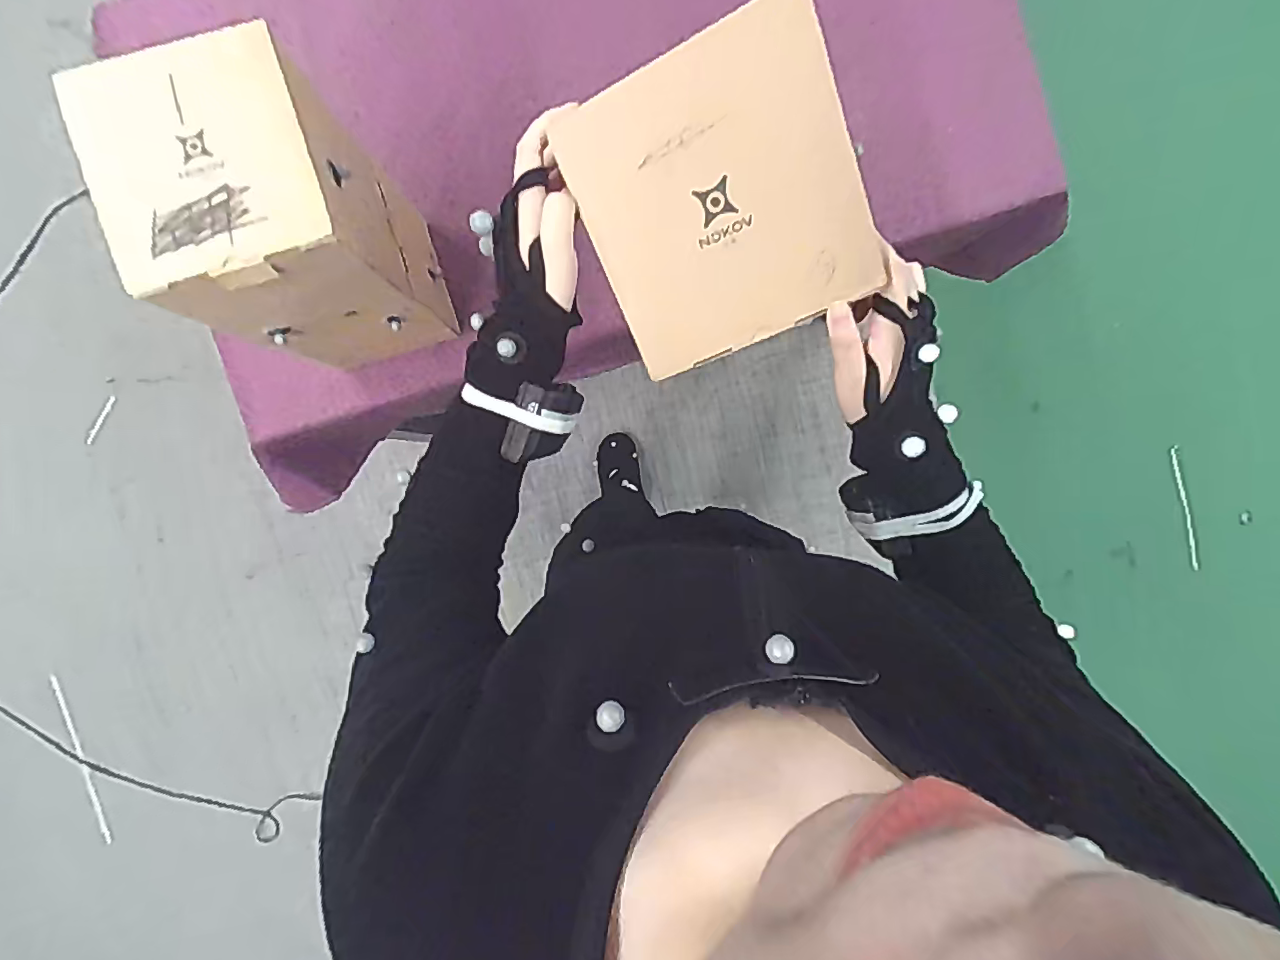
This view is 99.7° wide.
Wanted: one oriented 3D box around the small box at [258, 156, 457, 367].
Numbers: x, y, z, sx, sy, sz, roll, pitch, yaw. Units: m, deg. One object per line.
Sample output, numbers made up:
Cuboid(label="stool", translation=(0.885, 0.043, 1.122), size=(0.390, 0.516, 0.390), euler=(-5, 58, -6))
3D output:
Cuboid(label="small box", translation=(-0.350, -0.248, 0.659), size=(0.179, 0.176, 0.168), euler=(-18, 93, -3))

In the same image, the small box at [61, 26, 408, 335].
Cuboid(label="small box", translation=(-0.340, -0.246, 0.495), size=(0.168, 0.176, 0.179), euler=(-18, 91, -3))
